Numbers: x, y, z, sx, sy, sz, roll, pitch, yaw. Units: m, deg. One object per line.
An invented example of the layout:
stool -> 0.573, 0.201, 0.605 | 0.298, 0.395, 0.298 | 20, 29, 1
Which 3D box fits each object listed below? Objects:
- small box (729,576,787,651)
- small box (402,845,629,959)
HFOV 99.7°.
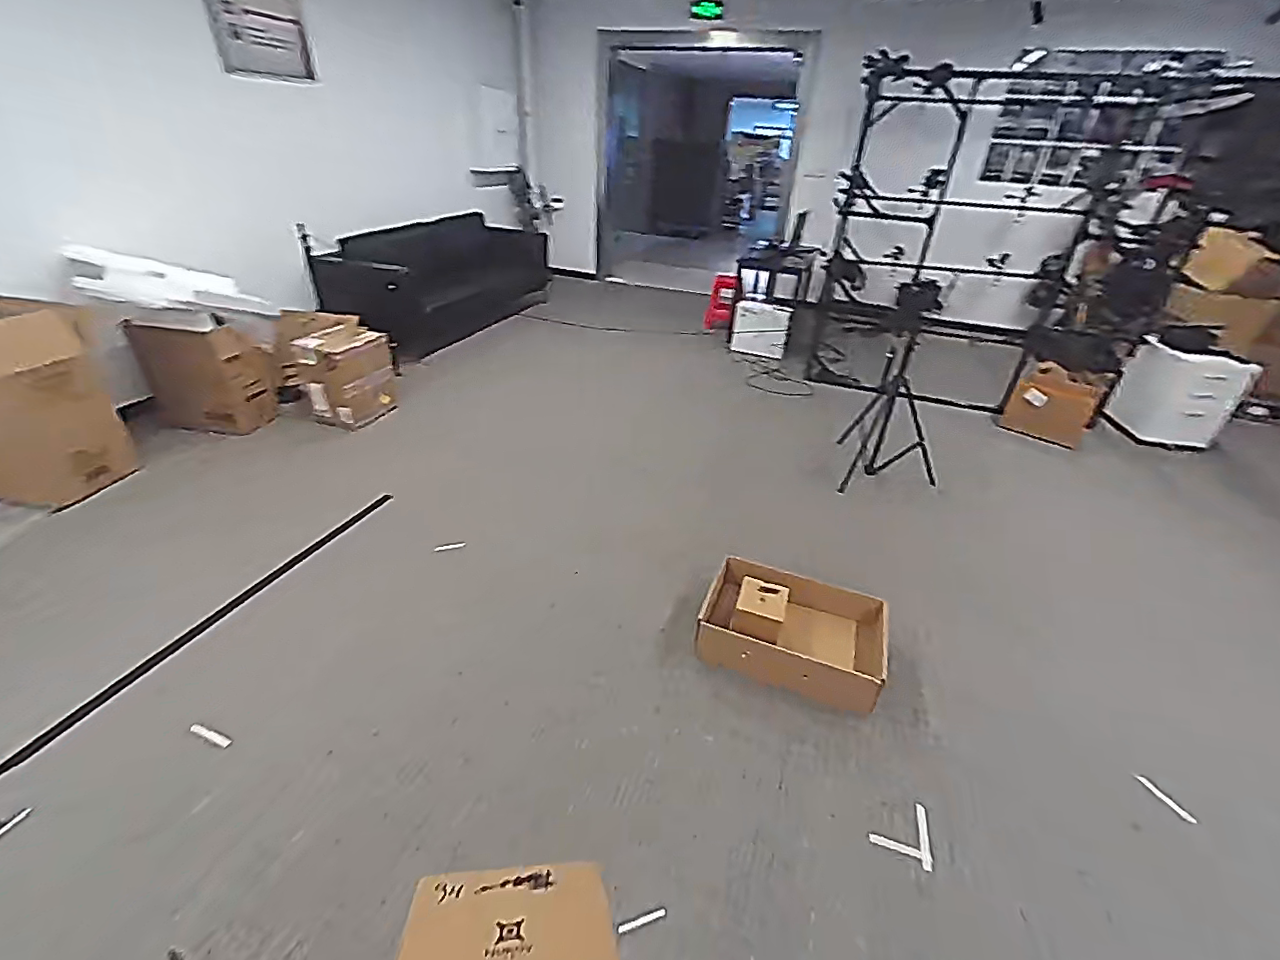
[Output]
small box -> 0.429, 0.486, 1.966 | 0.168, 0.176, 0.179 | 13, 33, 14
small box -> -0.097, 0.428, 0.418 | 0.168, 0.176, 0.179 | 3, -1, -11
